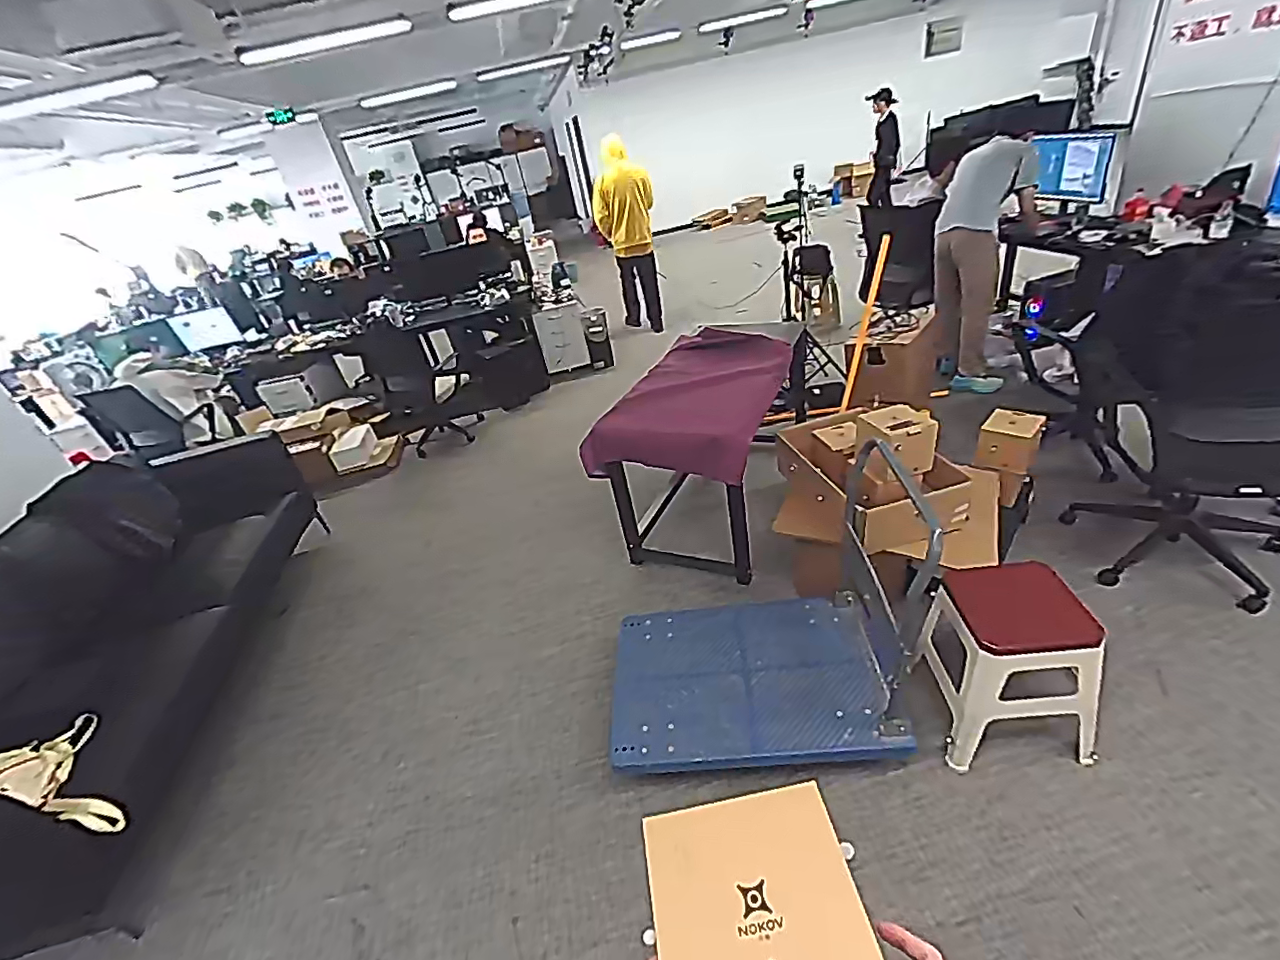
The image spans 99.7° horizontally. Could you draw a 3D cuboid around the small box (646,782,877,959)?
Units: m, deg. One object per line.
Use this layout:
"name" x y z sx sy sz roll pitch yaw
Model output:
"small box" 0.105 0.411 0.484 0.168 0.176 0.179 -12 35 1
